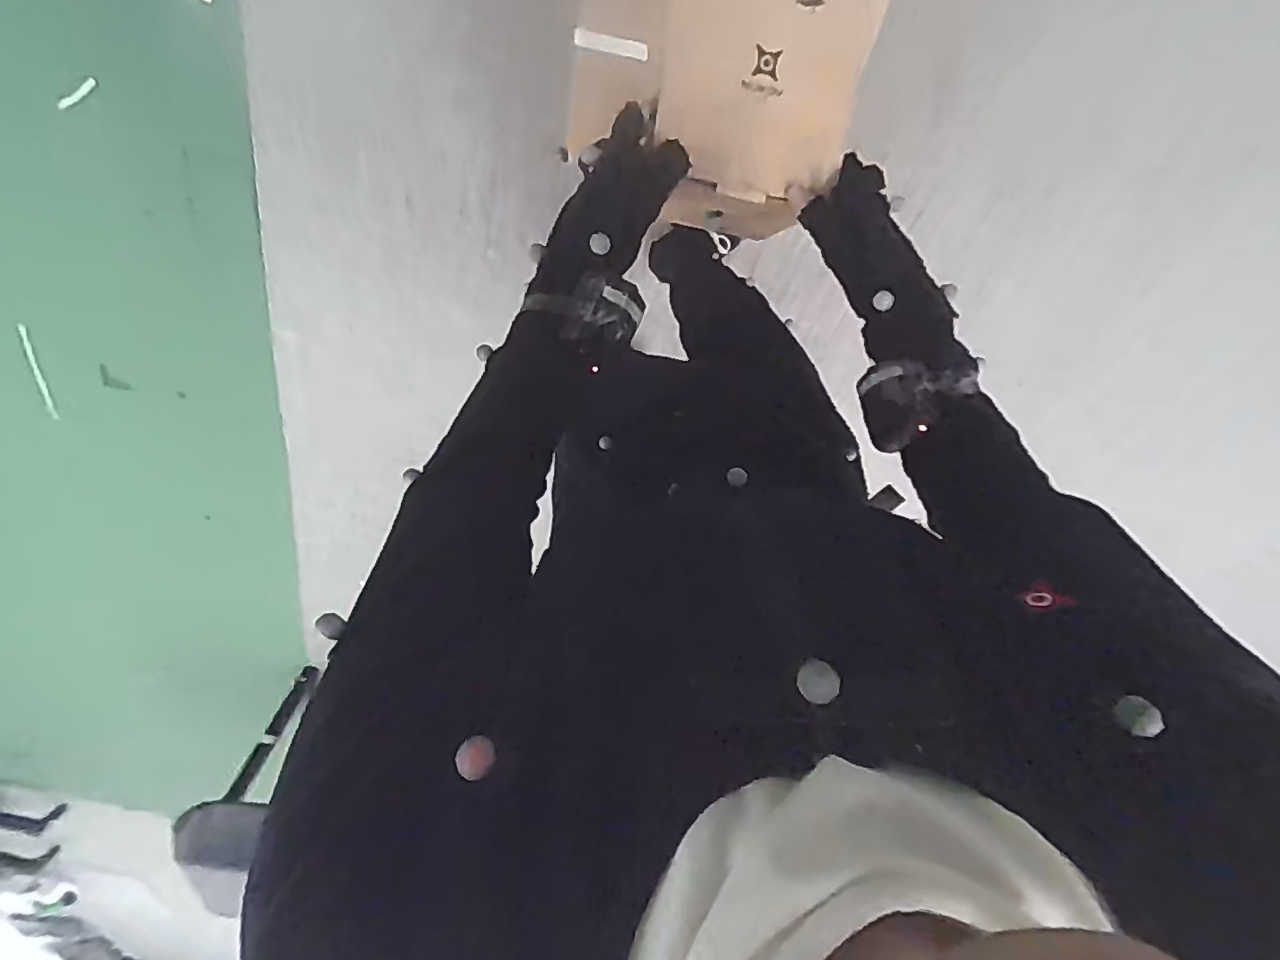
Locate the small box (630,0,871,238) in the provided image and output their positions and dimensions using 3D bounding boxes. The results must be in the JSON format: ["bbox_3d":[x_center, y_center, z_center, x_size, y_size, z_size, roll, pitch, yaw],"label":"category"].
[{"bbox_3d":[0.087,-0.349,0.524,0.168,0.176,0.179,7,104,-9],"label":"small box"}]
